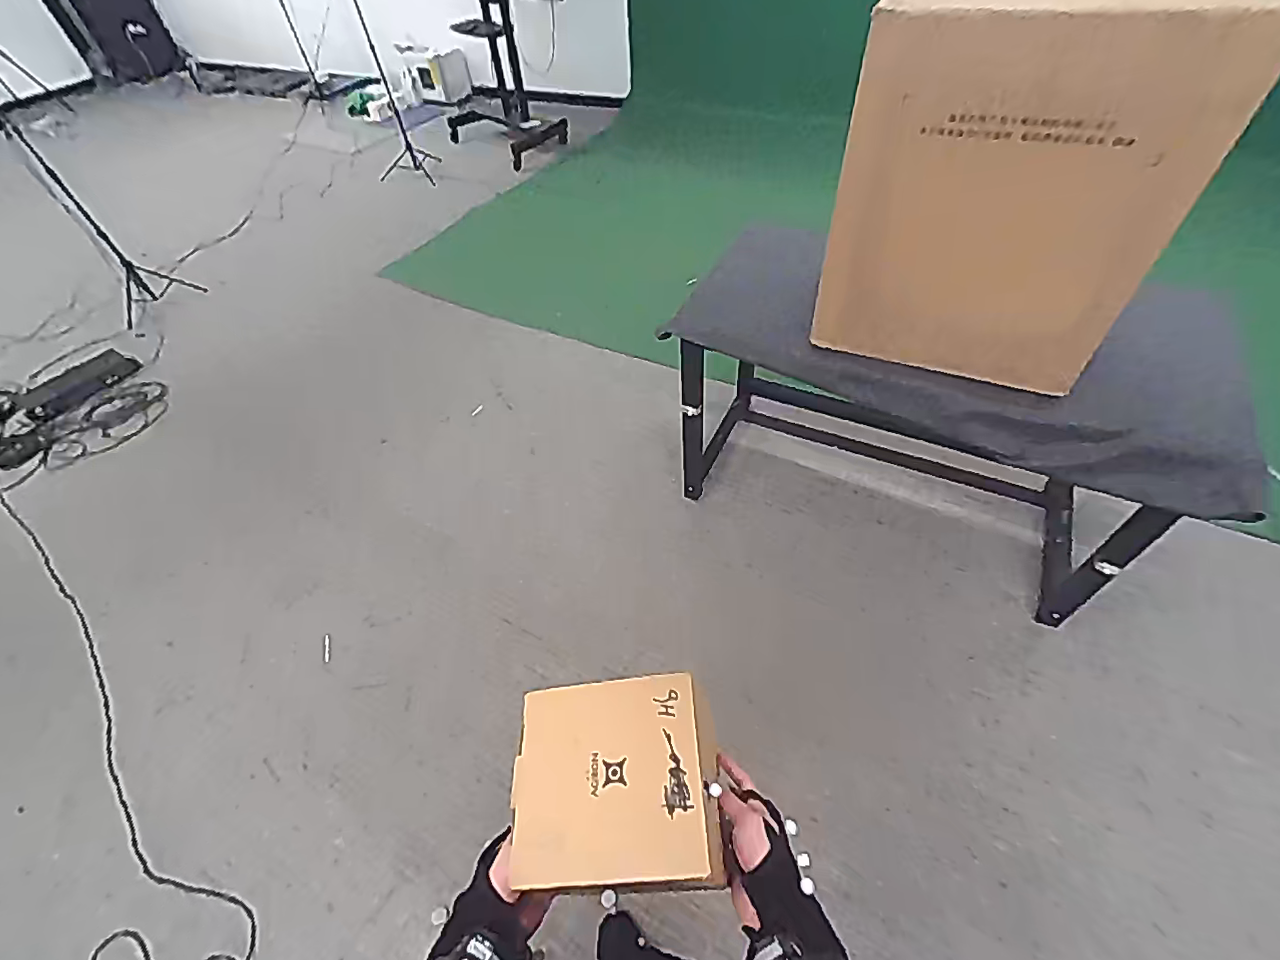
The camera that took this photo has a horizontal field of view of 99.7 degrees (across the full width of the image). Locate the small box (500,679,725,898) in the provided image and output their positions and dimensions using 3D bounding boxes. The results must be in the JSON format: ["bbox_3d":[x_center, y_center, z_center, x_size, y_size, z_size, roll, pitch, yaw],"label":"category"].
[{"bbox_3d":[-0.018,0.321,0.553,0.179,0.176,0.168,-10,51,10],"label":"small box"}]
